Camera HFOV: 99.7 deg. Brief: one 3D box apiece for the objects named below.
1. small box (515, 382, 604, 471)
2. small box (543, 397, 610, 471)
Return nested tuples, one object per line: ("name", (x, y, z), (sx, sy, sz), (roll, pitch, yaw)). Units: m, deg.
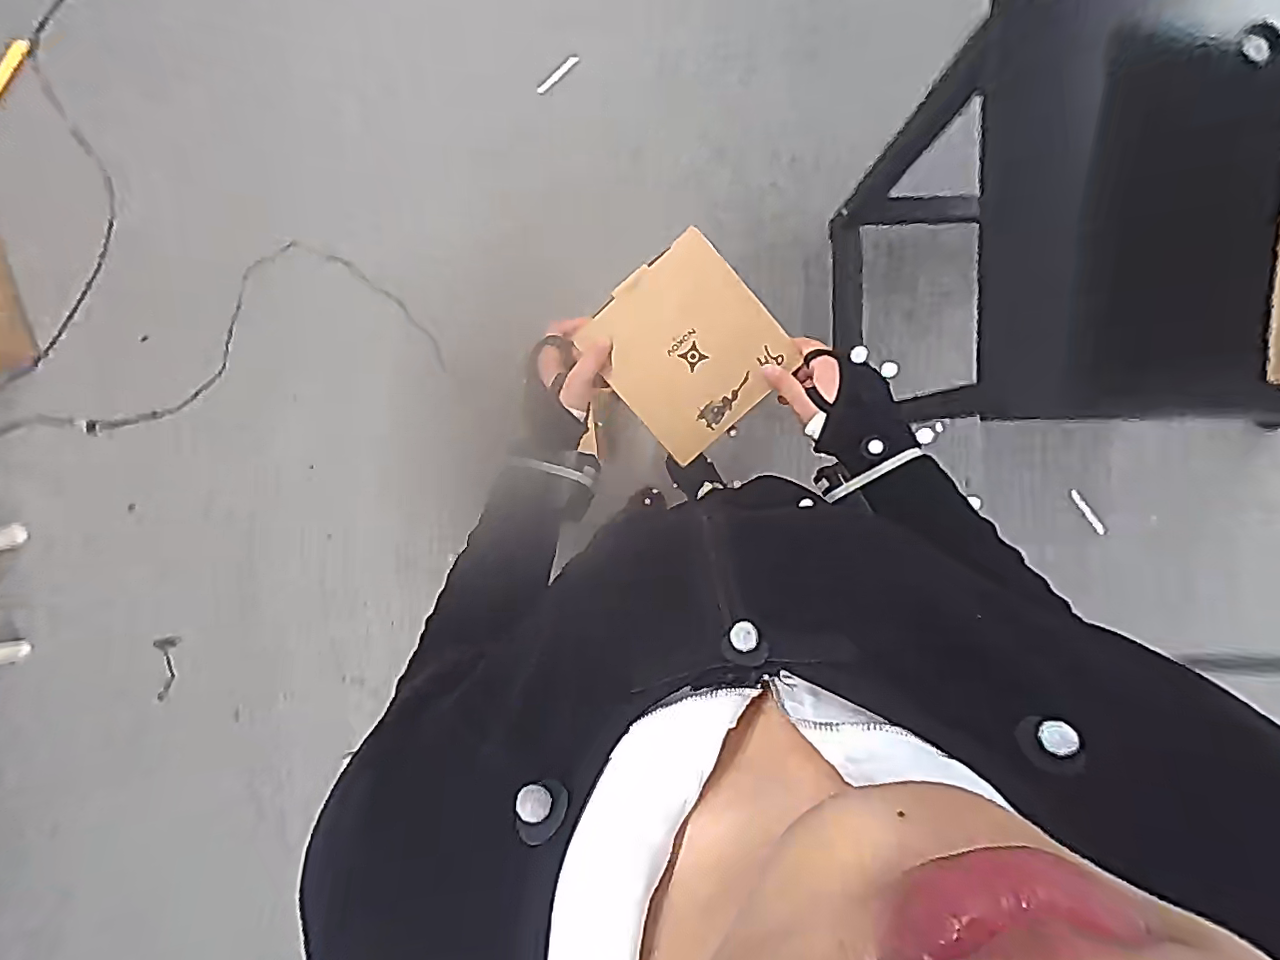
("small box", (-0.180, -0.118, 1.260), (0.168, 0.176, 0.179), (-9, 90, 0))
("small box", (-0.172, -0.117, 1.421), (0.168, 0.176, 0.179), (-5, 93, 2))
